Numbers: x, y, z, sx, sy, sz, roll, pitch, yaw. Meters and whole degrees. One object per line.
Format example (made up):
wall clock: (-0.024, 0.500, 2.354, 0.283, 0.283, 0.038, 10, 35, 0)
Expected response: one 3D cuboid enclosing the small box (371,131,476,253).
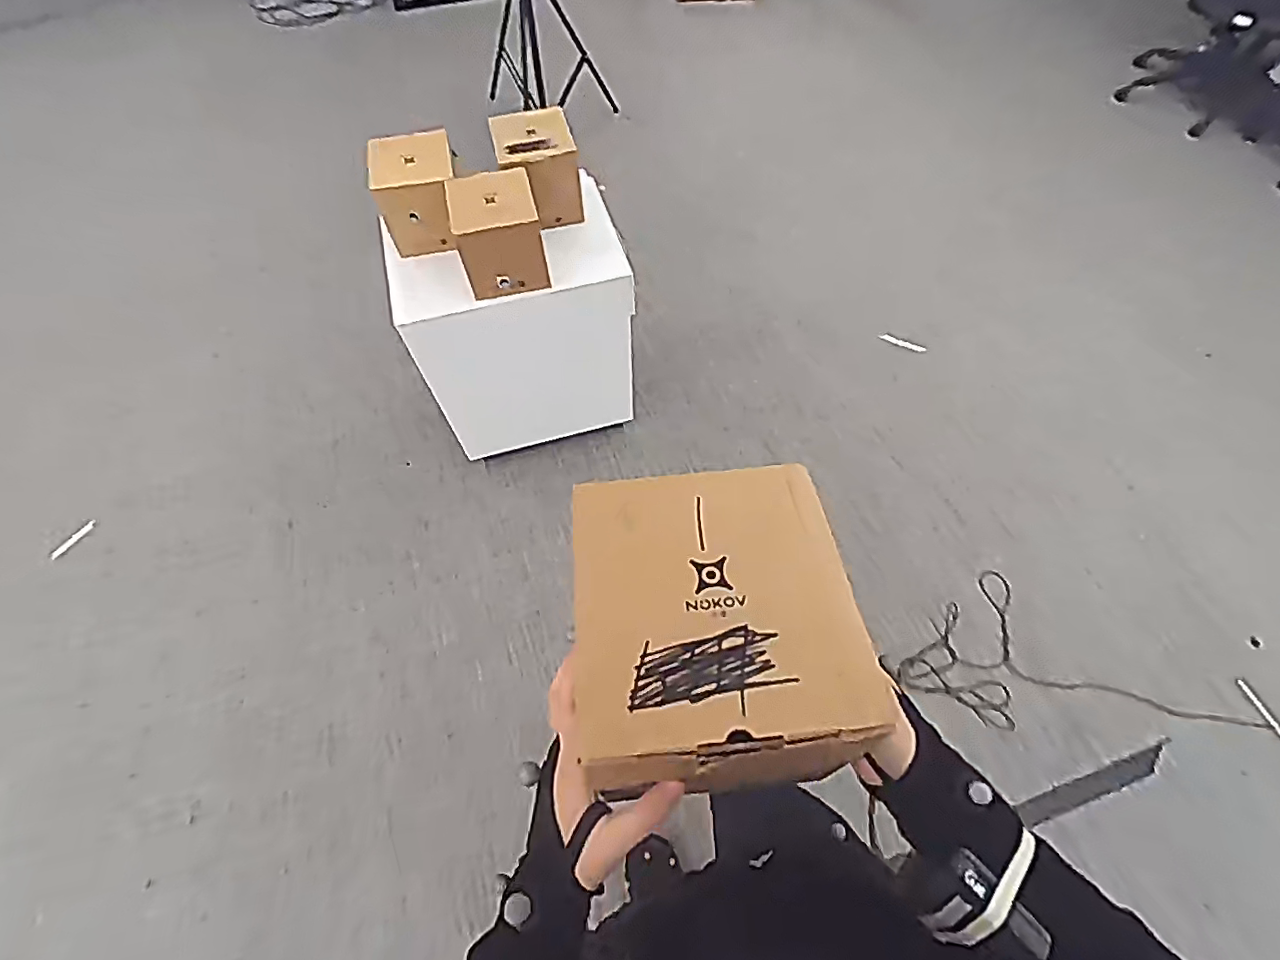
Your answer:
small box: (-0.467, -0.618, 1.179, 0.168, 0.176, 0.179, -12, 63, -7)
